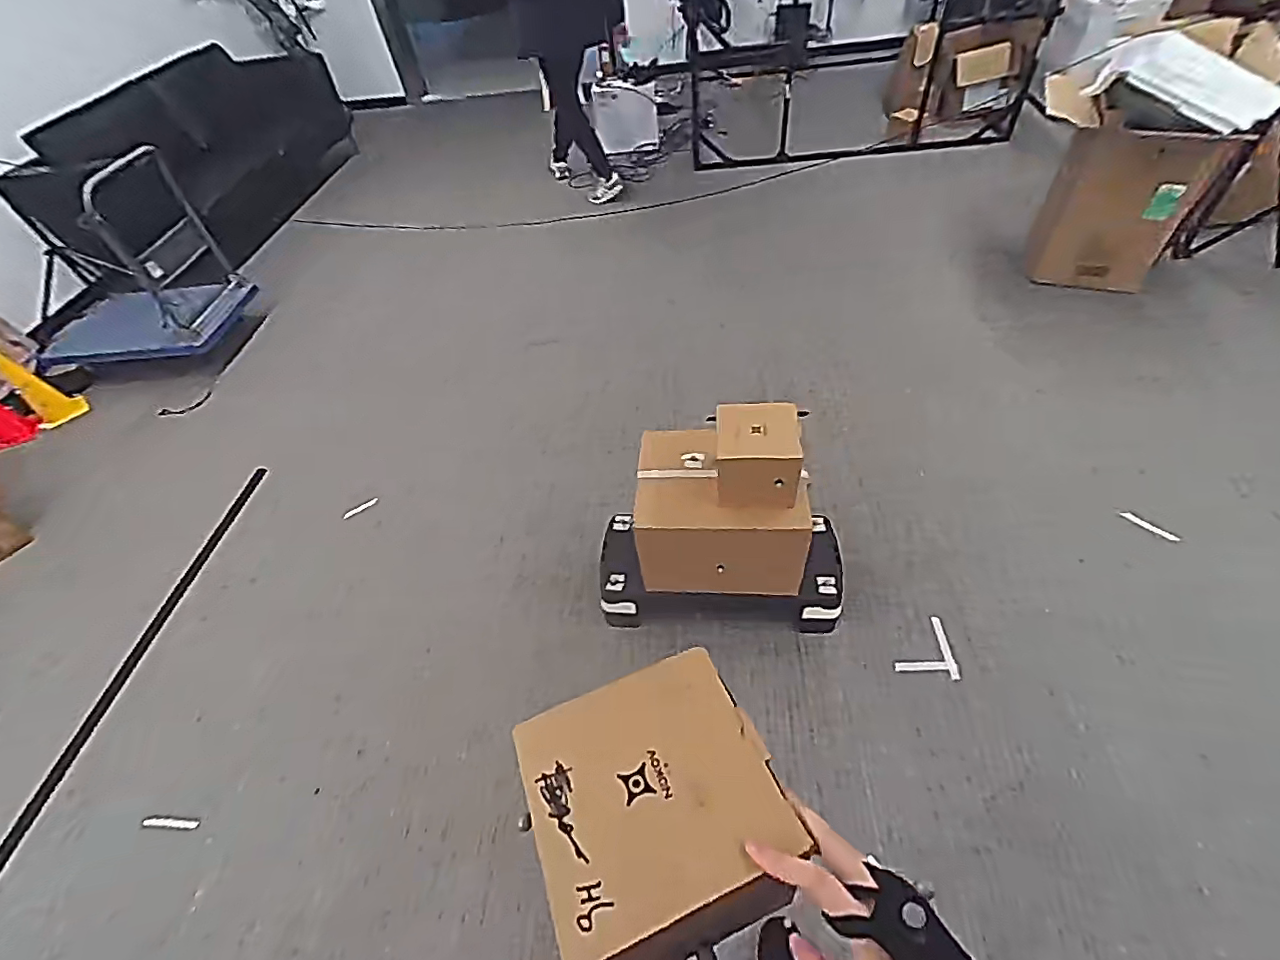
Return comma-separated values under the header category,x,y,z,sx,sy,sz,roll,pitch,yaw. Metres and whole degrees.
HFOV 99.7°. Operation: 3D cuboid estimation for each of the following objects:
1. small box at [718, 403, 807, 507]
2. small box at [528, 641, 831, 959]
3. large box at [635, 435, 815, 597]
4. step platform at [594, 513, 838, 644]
category,x,y,z,sx,sy,sz,roll,pitch,yaw
small box,0.264,-0.053,1.199,0.179,0.176,0.168,-1,50,9
small box,0.024,0.270,0.443,0.179,0.176,0.168,-18,42,-13
large box,0.215,0.097,1.403,0.408,0.320,0.320,-2,49,9
step platform,0.213,0.272,1.570,0.684,0.204,0.286,2,50,12
